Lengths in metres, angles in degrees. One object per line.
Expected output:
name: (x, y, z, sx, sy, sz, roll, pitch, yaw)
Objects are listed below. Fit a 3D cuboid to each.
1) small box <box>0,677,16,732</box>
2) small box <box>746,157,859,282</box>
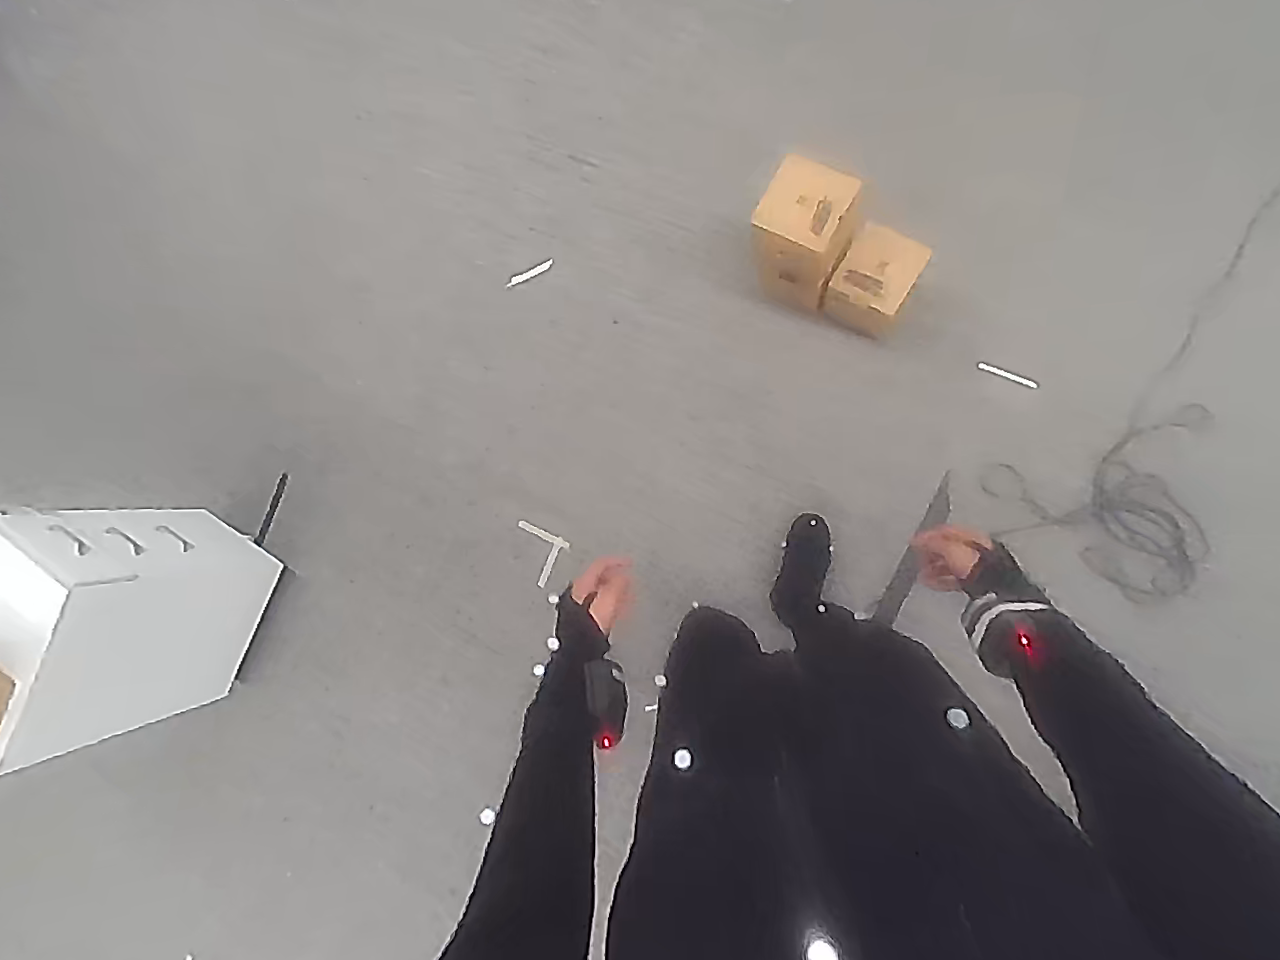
small box: (-1.575, 0.520, 1.205, 0.179, 0.176, 0.168, 28, 95, 14)
small box: (0.357, -0.569, 1.206, 0.179, 0.176, 0.168, 31, 94, 15)
